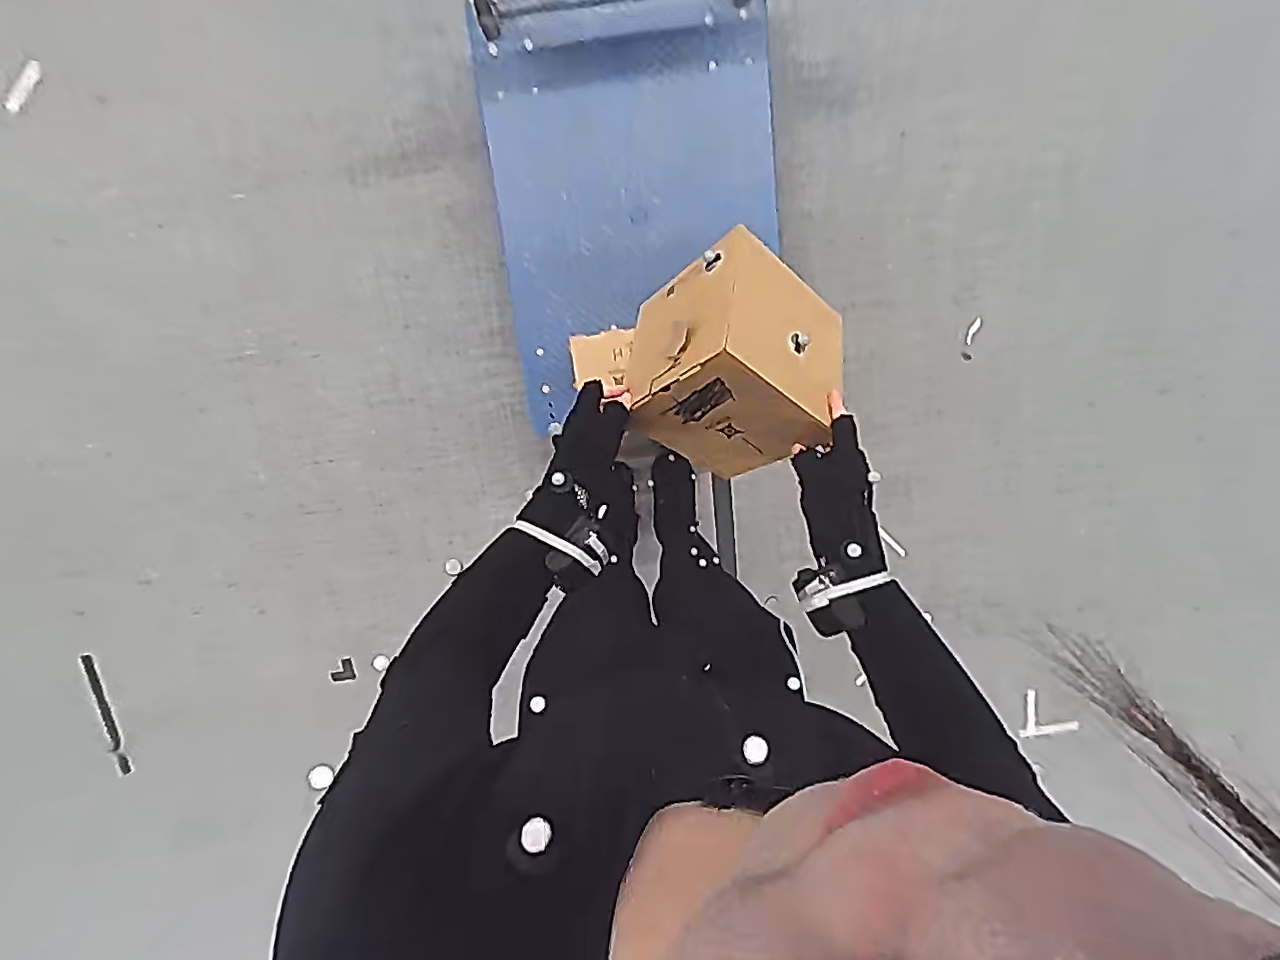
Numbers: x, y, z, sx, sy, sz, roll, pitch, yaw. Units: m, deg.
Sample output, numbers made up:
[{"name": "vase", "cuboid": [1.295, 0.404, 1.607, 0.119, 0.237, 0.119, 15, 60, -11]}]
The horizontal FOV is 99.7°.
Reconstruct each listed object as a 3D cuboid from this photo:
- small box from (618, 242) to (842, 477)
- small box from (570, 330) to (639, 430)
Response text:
[{"name": "small box", "cuboid": [0.102, -0.129, 0.600, 0.179, 0.168, 0.176, 26, 61, -30]}, {"name": "small box", "cuboid": [-0.040, -0.209, 1.109, 0.168, 0.176, 0.179, -8, 102, 1]}]
